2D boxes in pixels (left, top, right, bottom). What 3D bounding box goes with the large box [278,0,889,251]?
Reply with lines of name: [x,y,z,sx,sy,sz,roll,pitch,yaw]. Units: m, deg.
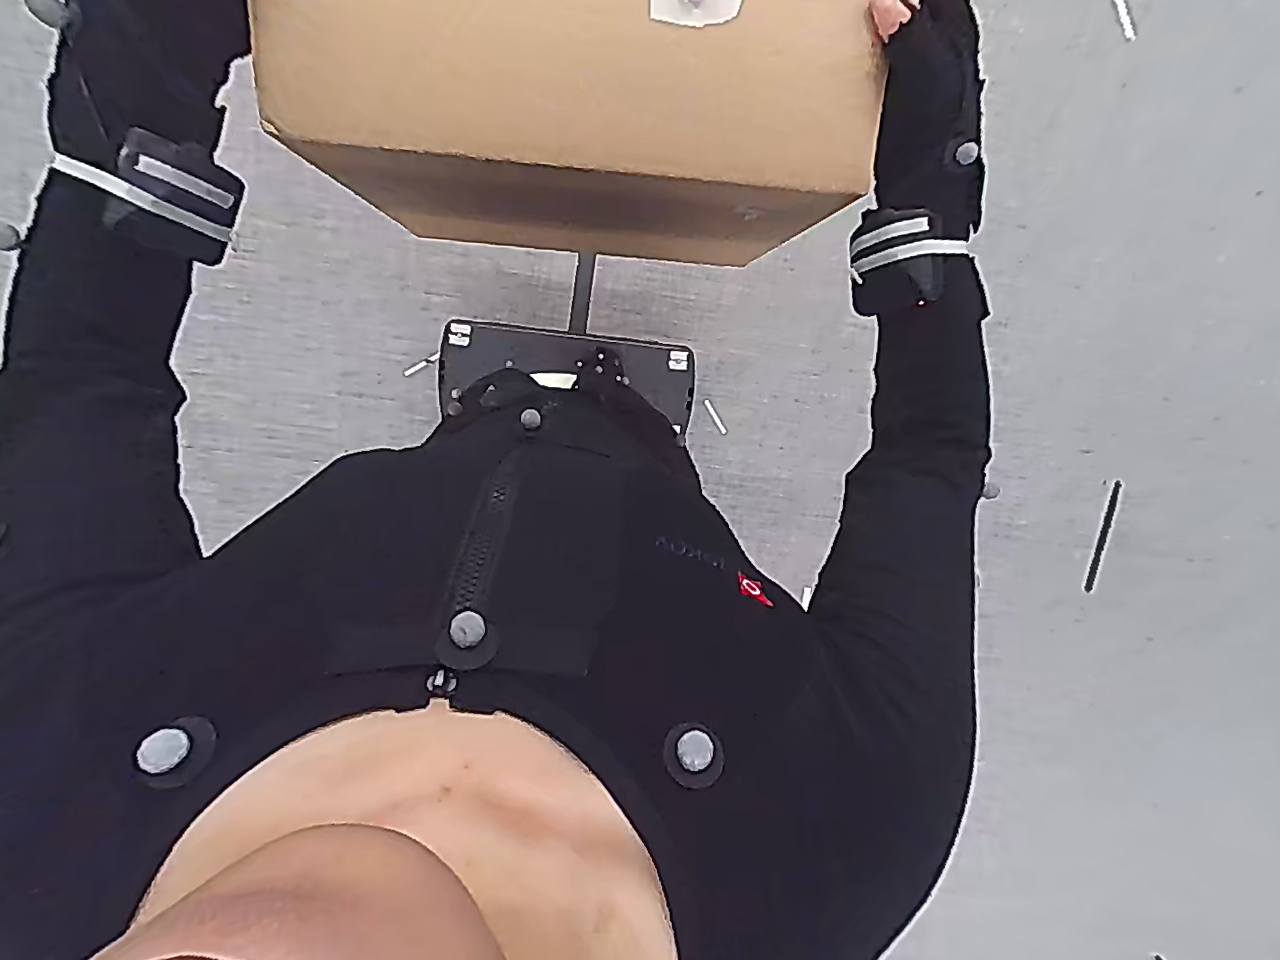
large box: [-0.041,-0.405,0.483,0.408,0.320,0.320,2,103,-6]

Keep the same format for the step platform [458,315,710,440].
step platform: [-0.149,-0.281,1.508,0.684,0.204,0.286,4,101,-6]
